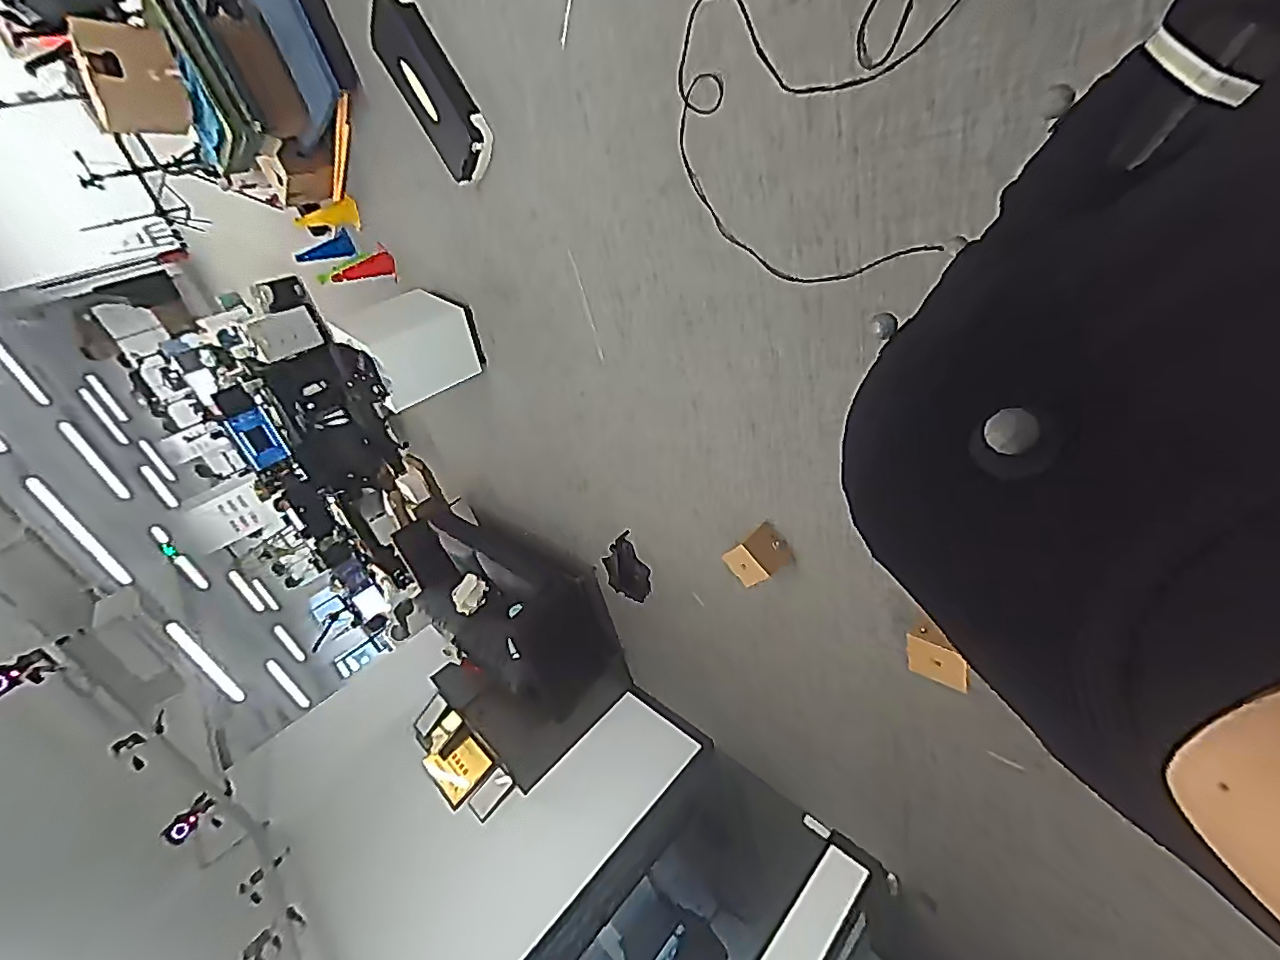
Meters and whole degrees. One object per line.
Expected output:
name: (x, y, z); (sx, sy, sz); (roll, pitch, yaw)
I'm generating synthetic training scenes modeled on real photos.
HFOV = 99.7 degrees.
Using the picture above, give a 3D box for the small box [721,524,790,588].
small box: (0.465, 0.304, 2.160); (0.168, 0.176, 0.179); (49, 148, 6)

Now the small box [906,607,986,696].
small box: (0.962, 0.528, 1.694); (0.179, 0.176, 0.168); (17, 133, 47)
